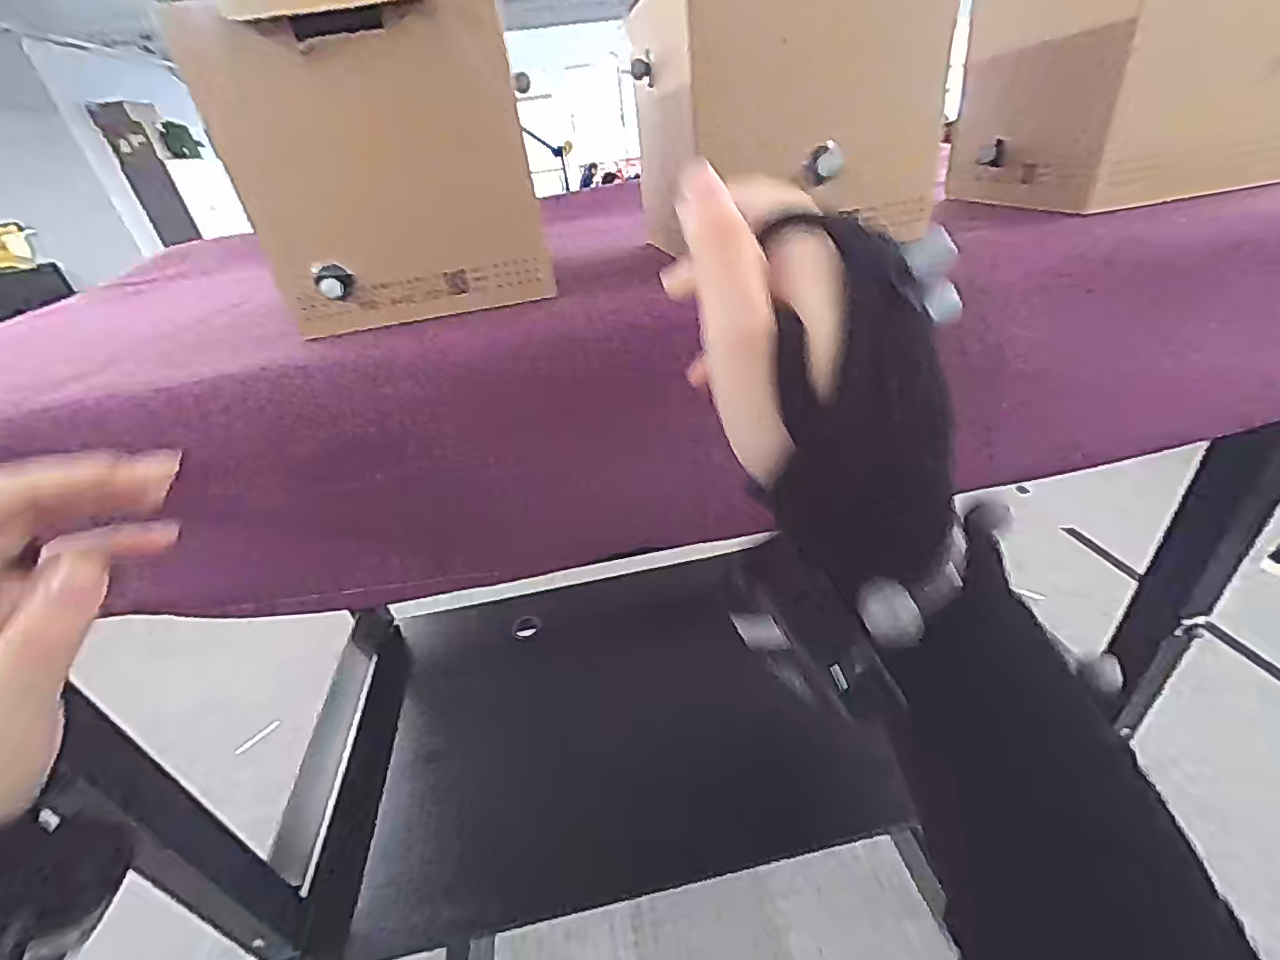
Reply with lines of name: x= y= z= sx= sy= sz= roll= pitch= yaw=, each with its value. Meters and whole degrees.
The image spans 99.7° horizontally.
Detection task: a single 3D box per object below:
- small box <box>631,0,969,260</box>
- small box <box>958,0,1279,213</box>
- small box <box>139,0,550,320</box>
small box: x=0.095 y=-0.264 z=0.387 sx=0.168 sy=0.176 sz=0.179 roll=-12 pitch=32 yaw=-6
small box: x=0.373 y=-0.308 z=0.397 sx=0.179 sy=0.176 sz=0.168 roll=-11 pitch=31 yaw=-2
small box: x=-0.161 y=-0.217 z=0.369 sx=0.168 sy=0.176 sz=0.179 roll=-12 pitch=32 yaw=-7
